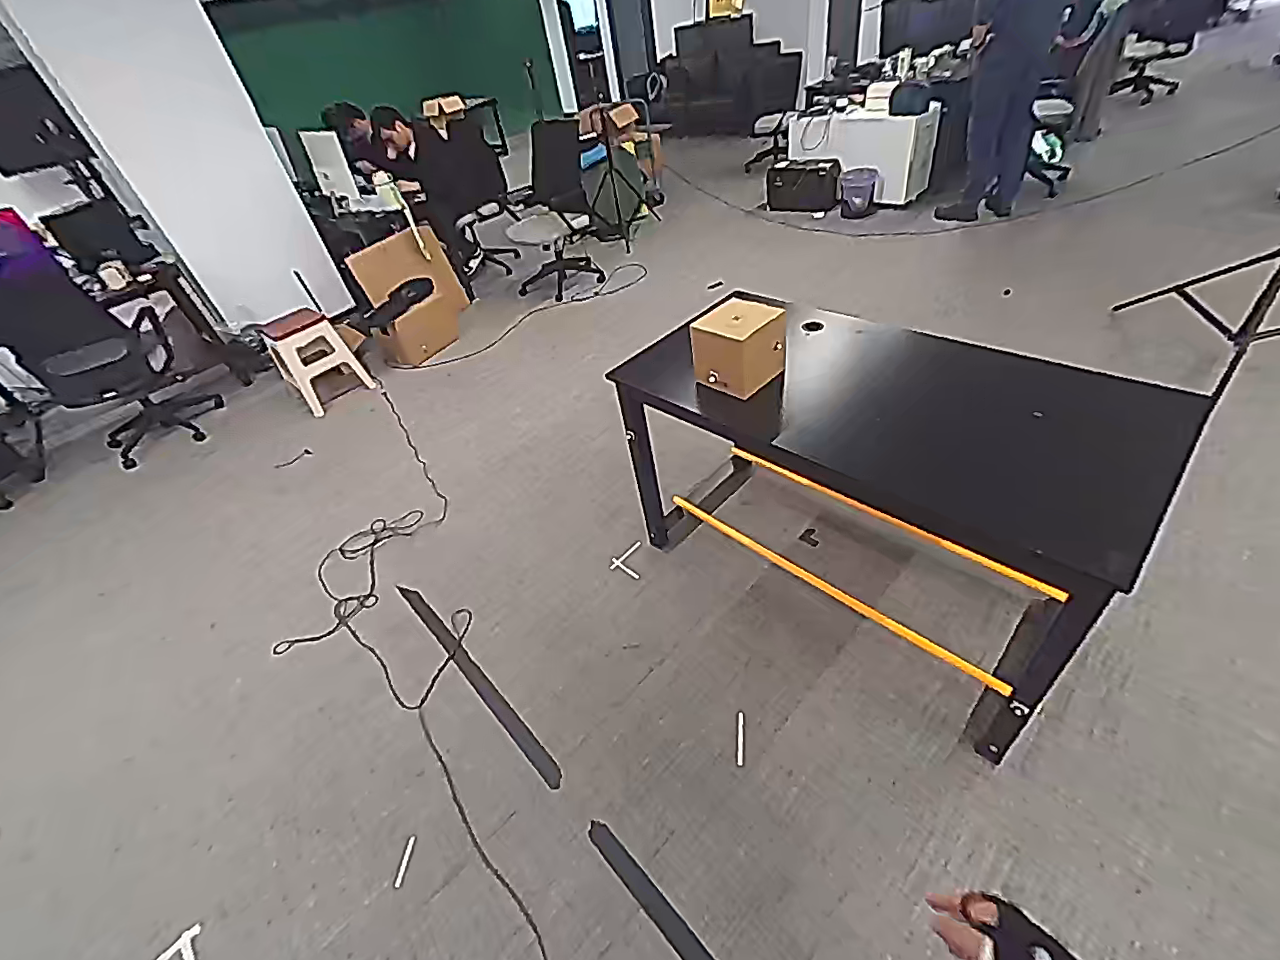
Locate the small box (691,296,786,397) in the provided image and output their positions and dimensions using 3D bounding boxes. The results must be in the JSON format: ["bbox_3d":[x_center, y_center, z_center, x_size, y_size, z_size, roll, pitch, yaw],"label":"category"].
[{"bbox_3d":[0.250,-0.337,1.363,0.179,0.176,0.168,-39,47,-26],"label":"small box"}]
